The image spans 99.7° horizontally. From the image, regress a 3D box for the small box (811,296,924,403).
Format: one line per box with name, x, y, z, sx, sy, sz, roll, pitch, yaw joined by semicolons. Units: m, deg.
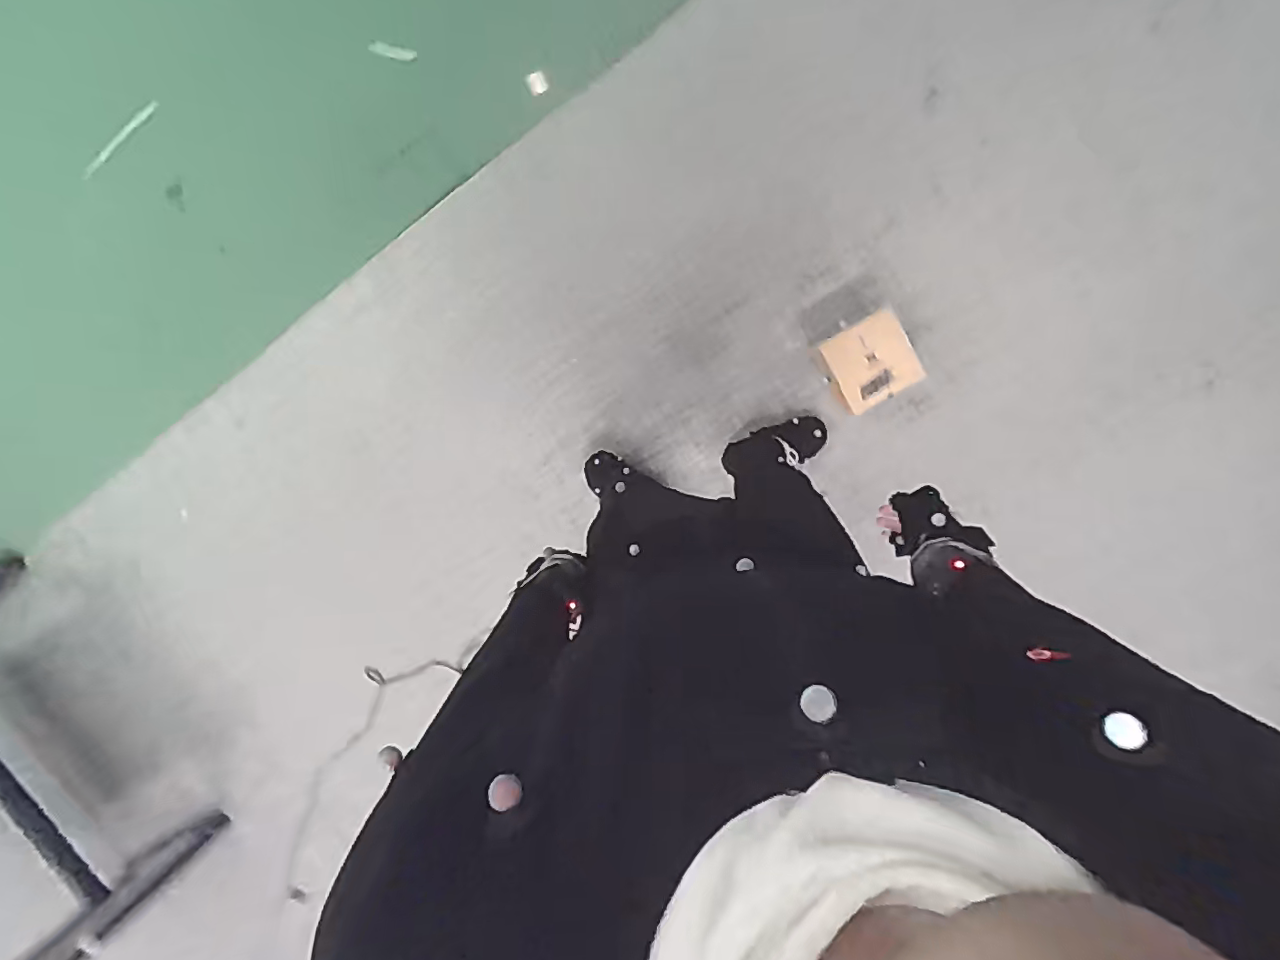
small box;0.508;-0.294;1.229;0.168;0.176;0.179;-24;98;12
